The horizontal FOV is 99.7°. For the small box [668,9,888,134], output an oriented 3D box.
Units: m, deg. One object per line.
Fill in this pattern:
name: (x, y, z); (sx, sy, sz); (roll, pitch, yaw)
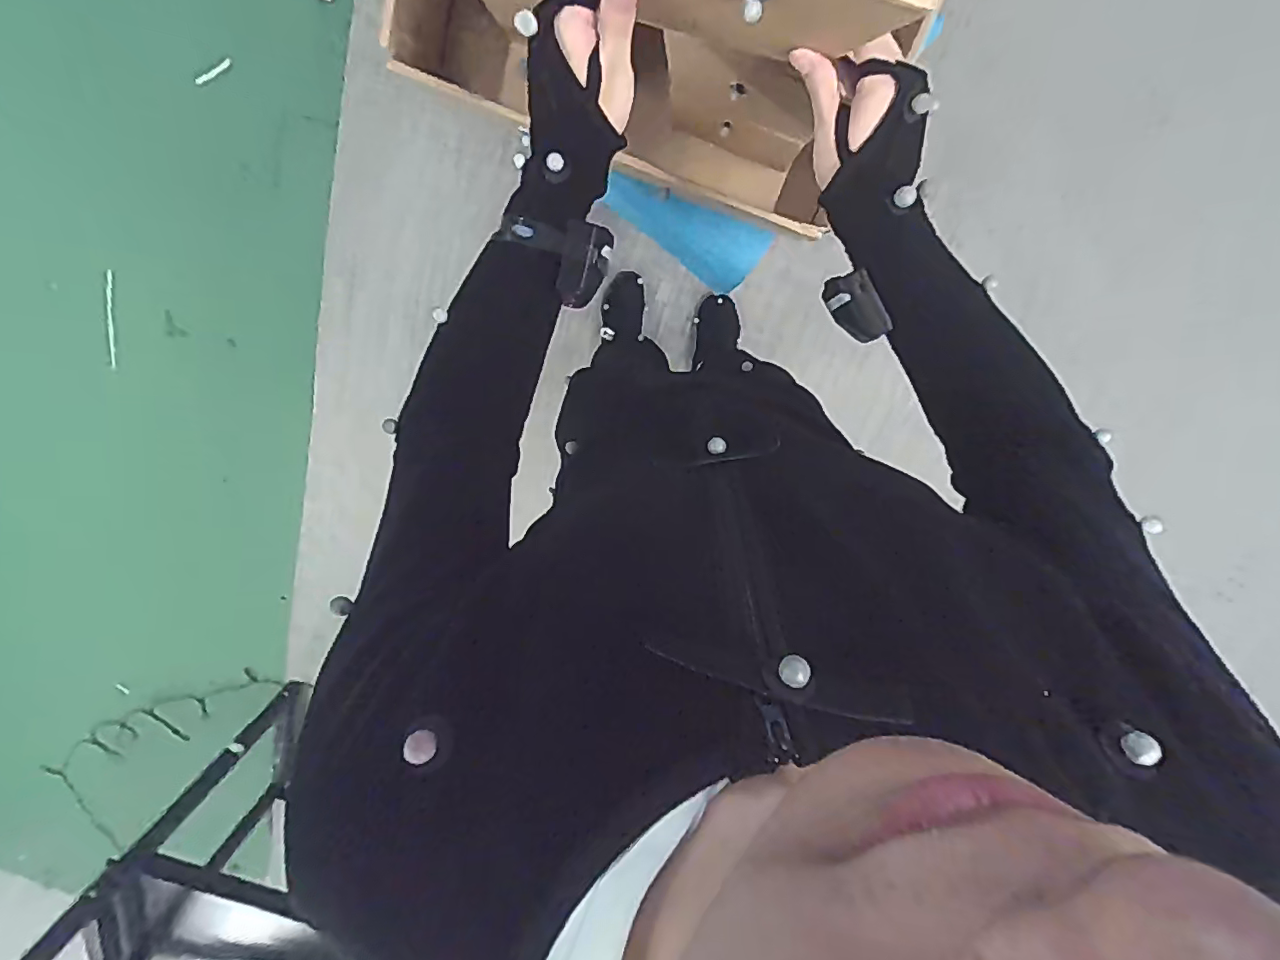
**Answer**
small box: (0.141, -0.463, 0.519); (0.179, 0.176, 0.168); (21, 110, 0)

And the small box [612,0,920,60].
small box: (0.078, -0.371, 0.308); (0.179, 0.176, 0.168); (7, 117, -10)

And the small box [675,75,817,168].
small box: (0.157, -0.516, 0.674); (0.179, 0.176, 0.168); (22, 110, -1)
